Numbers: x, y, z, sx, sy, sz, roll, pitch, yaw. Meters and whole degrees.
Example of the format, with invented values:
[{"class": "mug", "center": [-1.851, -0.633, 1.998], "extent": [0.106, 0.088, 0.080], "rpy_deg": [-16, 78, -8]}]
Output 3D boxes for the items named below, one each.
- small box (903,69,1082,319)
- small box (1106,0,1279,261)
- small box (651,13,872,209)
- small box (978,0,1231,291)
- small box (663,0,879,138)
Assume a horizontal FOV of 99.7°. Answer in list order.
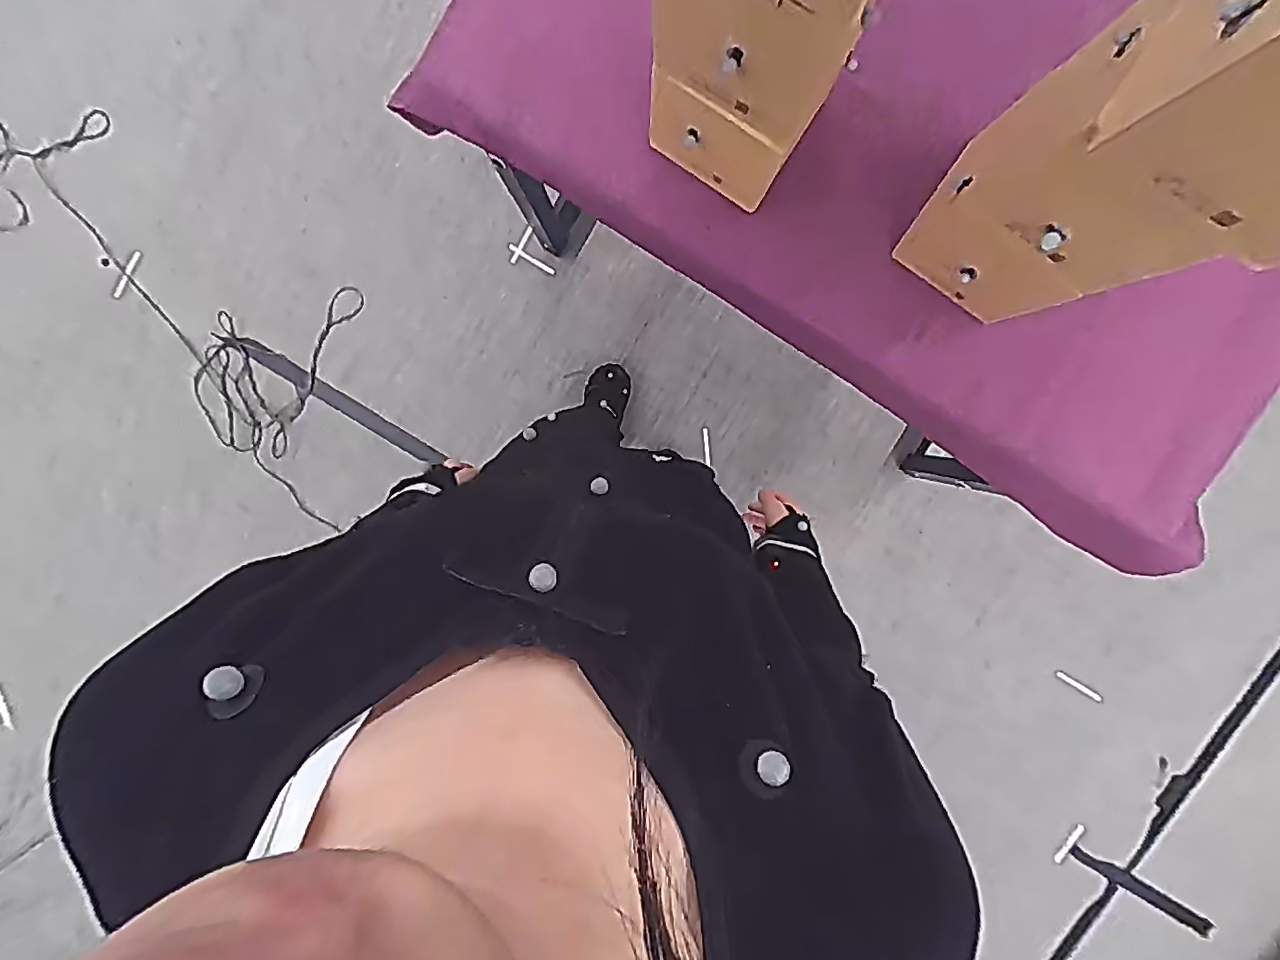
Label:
[{"class": "small box", "center": [0.452, -0.319, 0.649], "extent": [0.168, 0.176, 0.179], "rpy_deg": [34, 95, -4]}, {"class": "small box", "center": [0.447, -0.265, 0.326], "extent": [0.168, 0.176, 0.179], "rpy_deg": [31, 95, -4]}, {"class": "small box", "center": [0.126, -0.461, 0.635], "extent": [0.168, 0.176, 0.179], "rpy_deg": [32, 94, -4]}, {"class": "small box", "center": [0.457, -0.303, 0.486], "extent": [0.168, 0.176, 0.179], "rpy_deg": [34, 96, -3]}, {"class": "small box", "center": [0.130, -0.450, 0.471], "extent": [0.168, 0.176, 0.179], "rpy_deg": [30, 95, -4]}]
